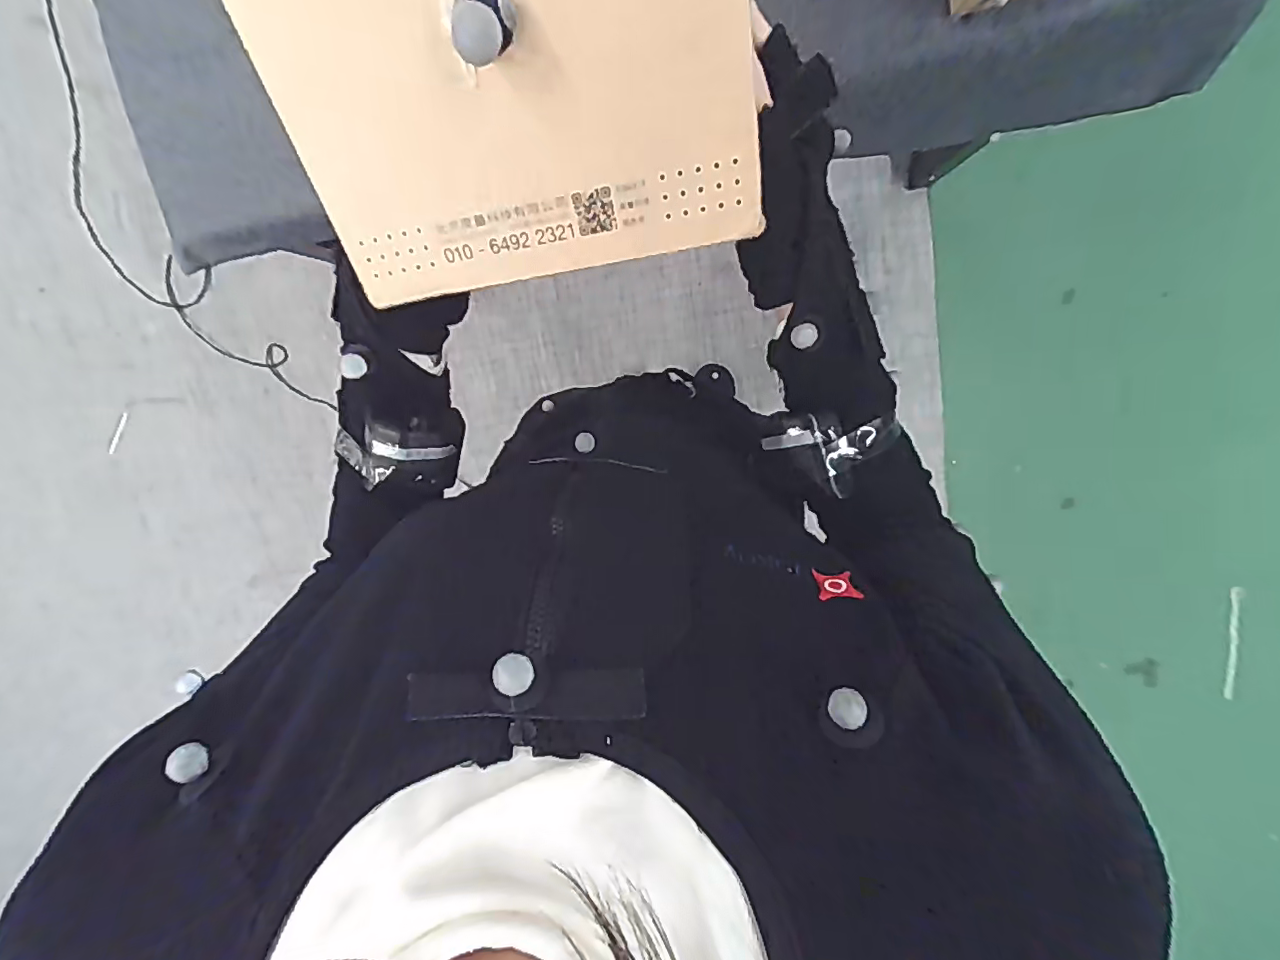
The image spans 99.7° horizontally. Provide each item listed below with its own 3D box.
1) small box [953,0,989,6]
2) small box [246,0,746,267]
[{"bbox_3d":[0.358,-0.553,0.452,0.168,0.176,0.179,-13,100,8],"label":"small box"},{"bbox_3d":[-0.045,-0.206,0.241,0.168,0.179,0.176,-5,127,10],"label":"small box"}]
